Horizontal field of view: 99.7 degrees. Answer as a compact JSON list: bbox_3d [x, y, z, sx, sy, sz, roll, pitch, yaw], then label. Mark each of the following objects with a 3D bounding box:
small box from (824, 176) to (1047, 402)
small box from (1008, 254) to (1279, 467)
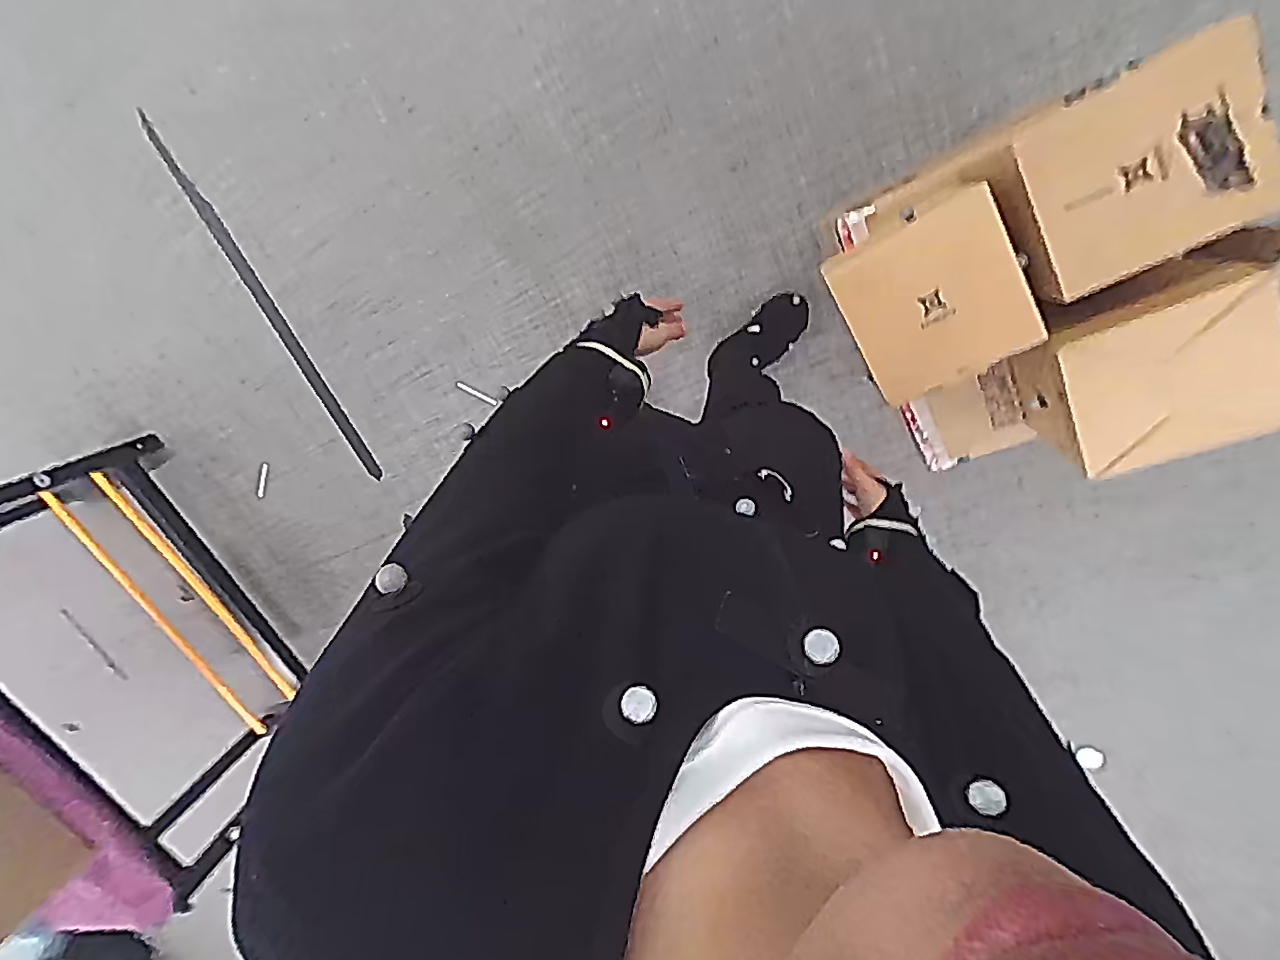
[{"bbox_3d":[0.331,-0.223,0.640,0.168,0.176,0.179,-26,106,26],"label":"small box"},{"bbox_3d":[0.555,-0.135,0.617,0.179,0.176,0.168,-21,111,23],"label":"small box"}]
